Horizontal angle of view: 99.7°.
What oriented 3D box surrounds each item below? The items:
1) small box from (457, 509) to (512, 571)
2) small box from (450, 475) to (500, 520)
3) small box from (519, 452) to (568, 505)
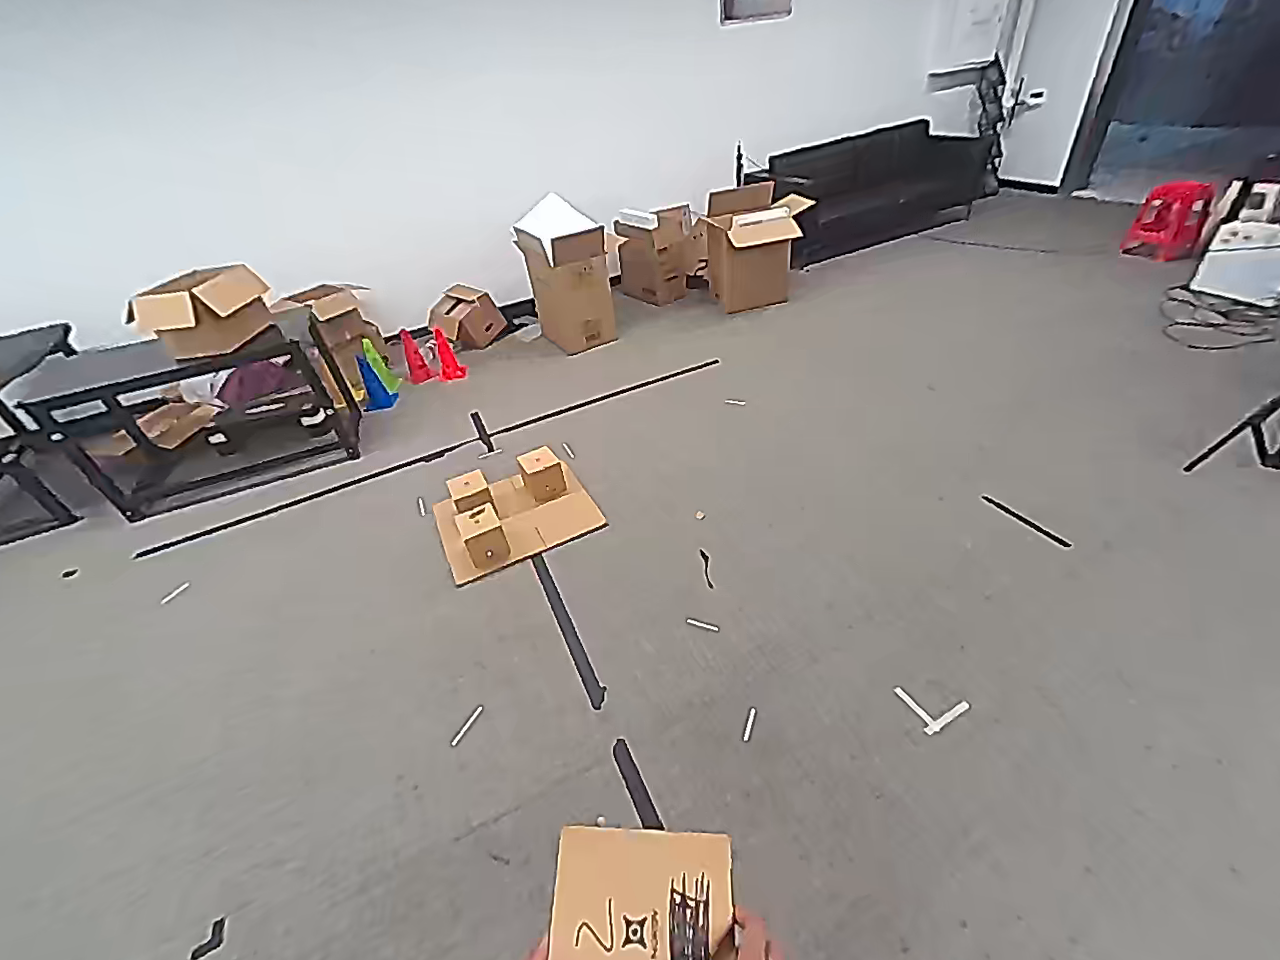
[{"bbox_3d":[-0.671,0.259,2.338,0.168,0.176,0.179,-23,40,-18],"label":"small box"},{"bbox_3d":[-0.781,0.109,2.554,0.168,0.176,0.179,-23,40,-17],"label":"small box"},{"bbox_3d":[-0.474,-0.005,2.657,0.168,0.176,0.179,-24,40,-20],"label":"small box"}]
